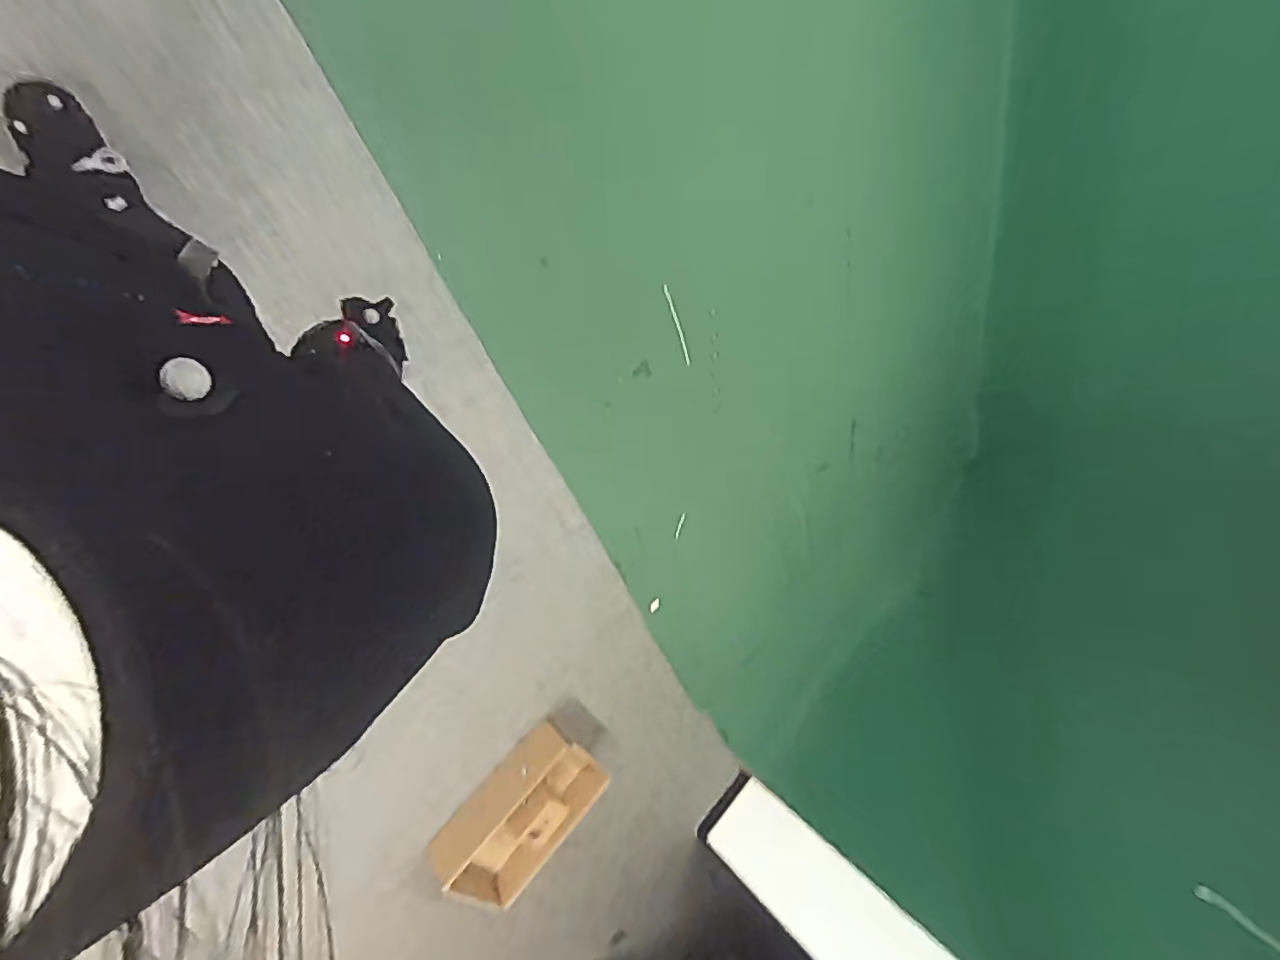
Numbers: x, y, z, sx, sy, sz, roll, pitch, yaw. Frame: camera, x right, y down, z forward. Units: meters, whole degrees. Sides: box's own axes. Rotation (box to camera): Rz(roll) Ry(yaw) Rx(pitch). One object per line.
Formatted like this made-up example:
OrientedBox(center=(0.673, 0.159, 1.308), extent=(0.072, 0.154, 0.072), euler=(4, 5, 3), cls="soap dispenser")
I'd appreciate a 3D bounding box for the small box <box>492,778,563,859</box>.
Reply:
OrientedBox(center=(-0.432, 1.272, 2.038), extent=(0.179, 0.176, 0.168), euler=(-47, 134, -18), cls="small box")
